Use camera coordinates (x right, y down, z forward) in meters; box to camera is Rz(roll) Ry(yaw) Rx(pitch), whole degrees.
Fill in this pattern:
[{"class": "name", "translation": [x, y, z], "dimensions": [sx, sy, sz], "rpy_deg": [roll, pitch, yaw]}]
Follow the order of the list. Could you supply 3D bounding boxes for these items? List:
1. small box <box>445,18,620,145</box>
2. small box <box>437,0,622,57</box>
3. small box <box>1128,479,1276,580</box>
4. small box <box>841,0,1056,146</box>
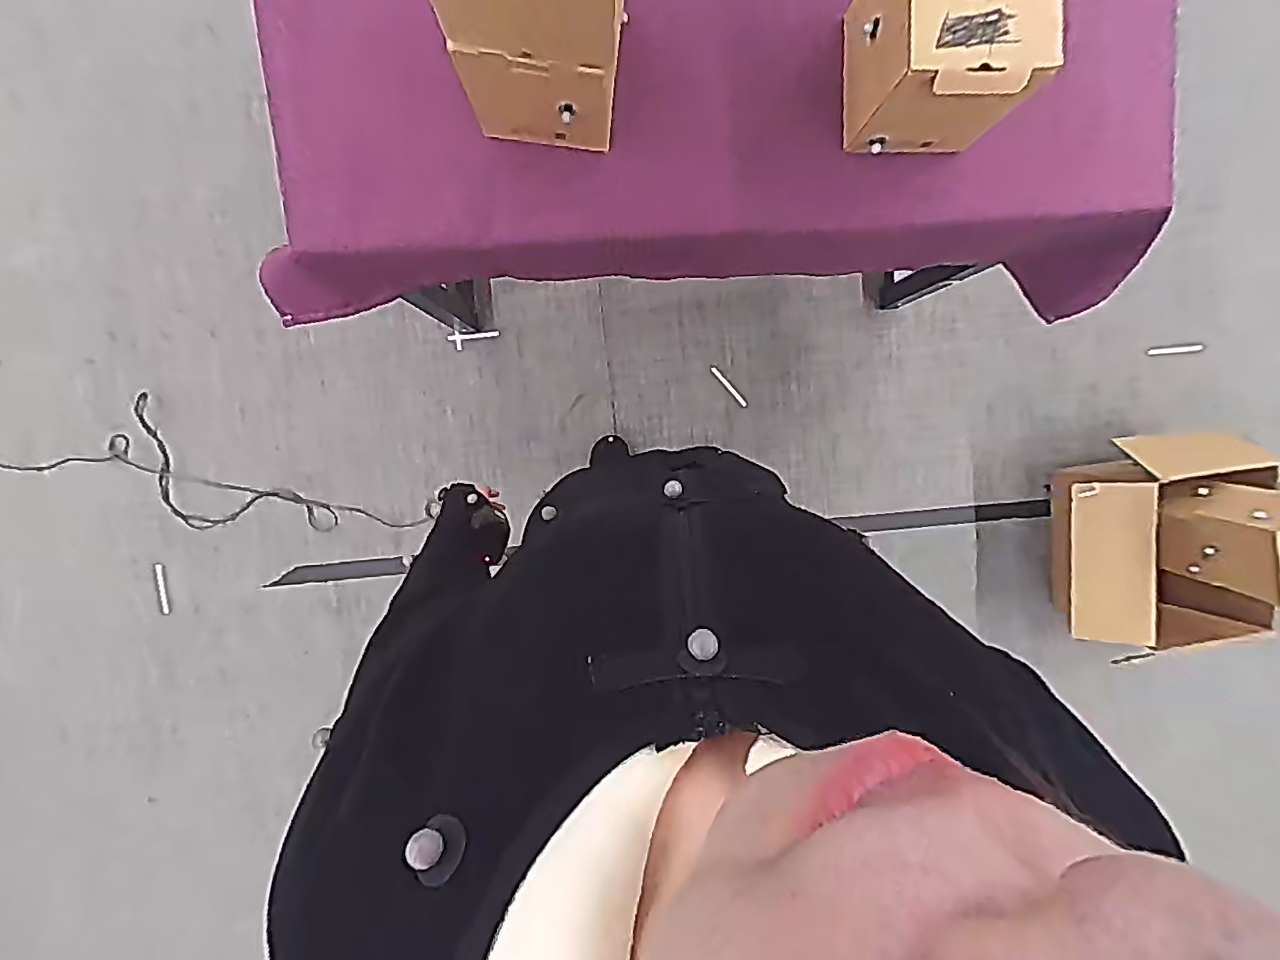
[{"class": "small box", "translation": [-0.111, -0.523, 0.624], "dimensions": [0.168, 0.176, 0.179], "rpy_deg": [6, 95, -4]}, {"class": "small box", "translation": [-0.097, -0.509, 0.461], "dimensions": [0.179, 0.176, 0.168], "rpy_deg": [7, 96, -5]}, {"class": "small box", "translation": [1.340, 0.109, 1.303], "dimensions": [0.168, 0.176, 0.179], "rpy_deg": [-27, 100, 2]}, {"class": "small box", "translation": [0.353, -0.526, 0.644], "dimensions": [0.168, 0.176, 0.179], "rpy_deg": [-2, 95, -3]}]
